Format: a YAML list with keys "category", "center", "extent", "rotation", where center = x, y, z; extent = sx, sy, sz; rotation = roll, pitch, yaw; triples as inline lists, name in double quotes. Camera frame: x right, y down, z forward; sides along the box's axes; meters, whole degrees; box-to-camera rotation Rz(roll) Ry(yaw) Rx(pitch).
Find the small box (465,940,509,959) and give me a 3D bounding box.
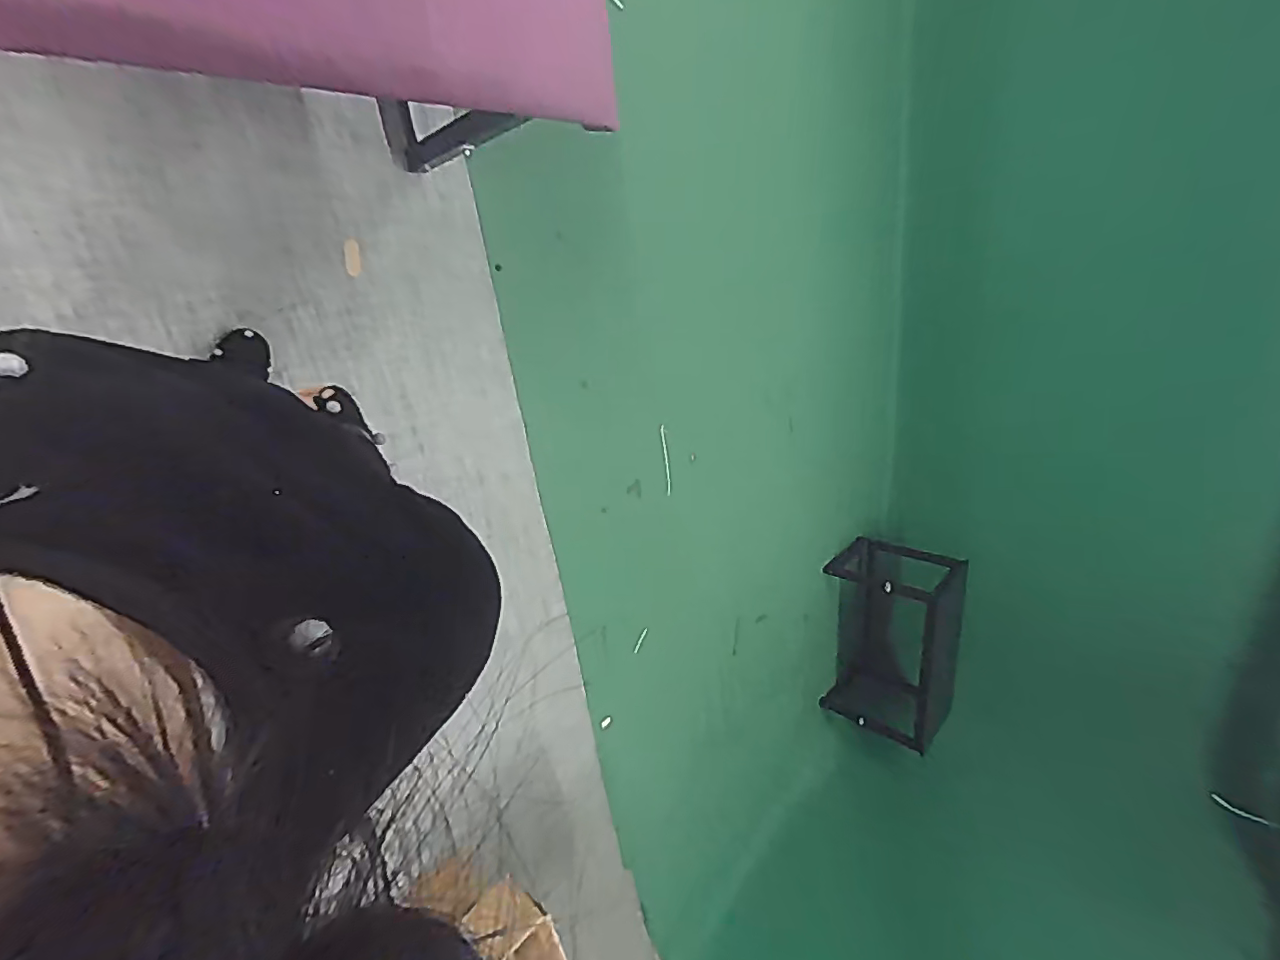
- category: "small box"
  center: [-0.419, 1.420, 1.479]
  extent: [0.168, 0.176, 0.179]
  rotation: [-42, 127, -31]
